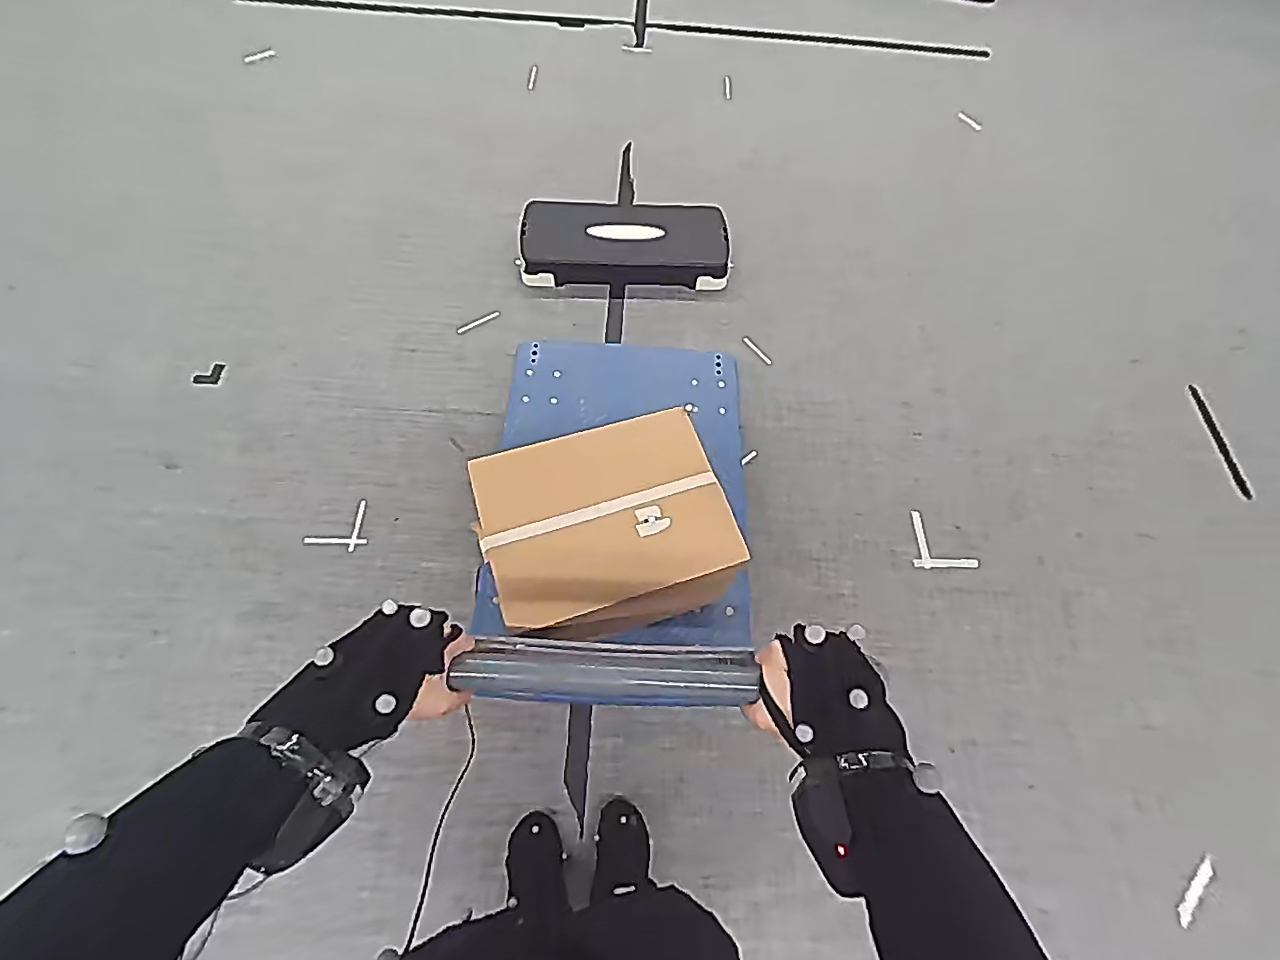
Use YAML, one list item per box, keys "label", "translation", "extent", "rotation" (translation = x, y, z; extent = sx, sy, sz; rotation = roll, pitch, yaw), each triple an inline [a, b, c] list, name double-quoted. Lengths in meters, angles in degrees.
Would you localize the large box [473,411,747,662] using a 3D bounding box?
- label: "large box"
  translation: [-0.067, 0.118, 1.046]
  extent: [0.408, 0.320, 0.320]
  rotation: [-15, 67, -12]
